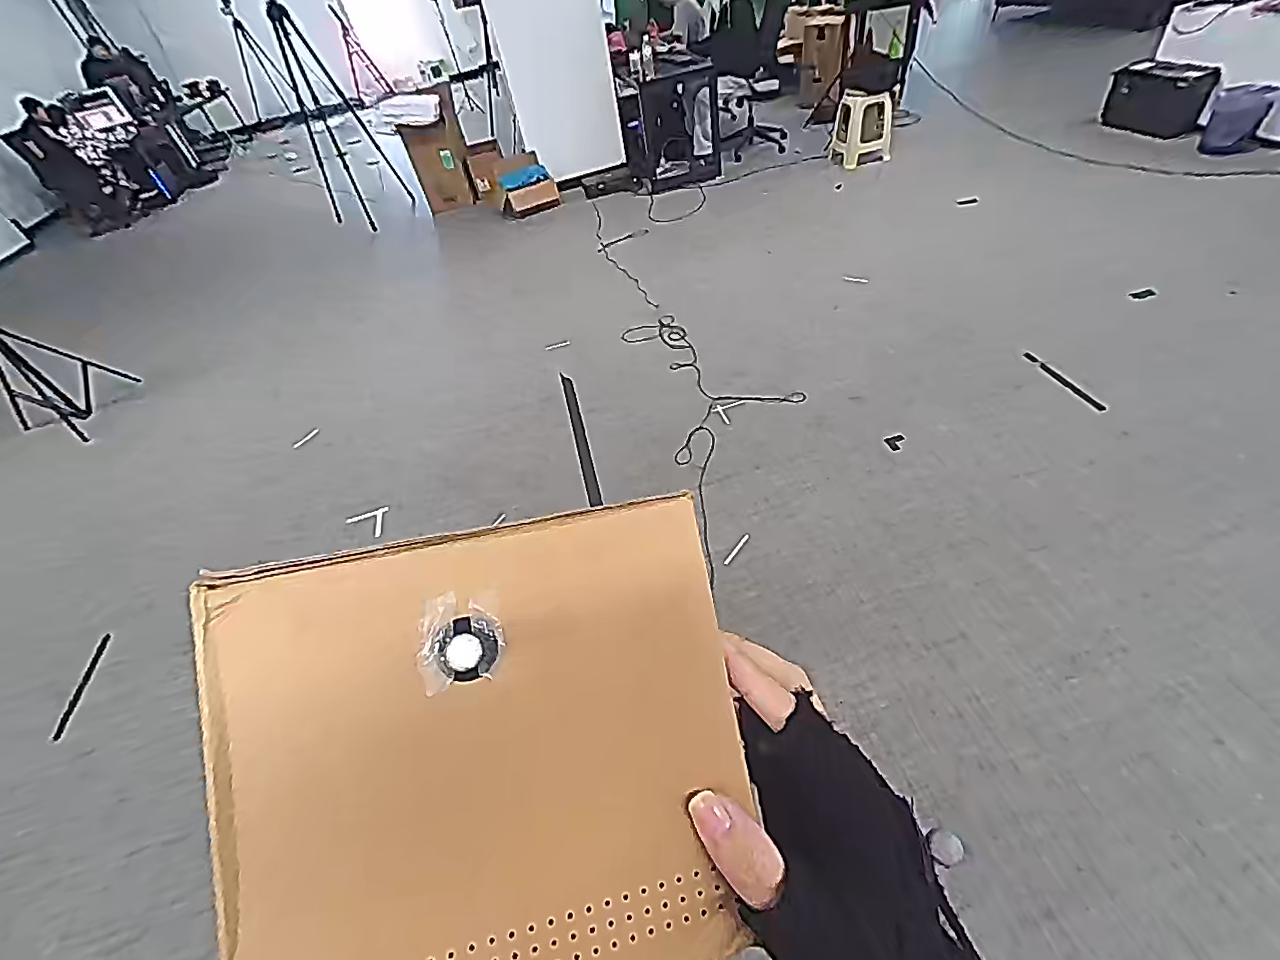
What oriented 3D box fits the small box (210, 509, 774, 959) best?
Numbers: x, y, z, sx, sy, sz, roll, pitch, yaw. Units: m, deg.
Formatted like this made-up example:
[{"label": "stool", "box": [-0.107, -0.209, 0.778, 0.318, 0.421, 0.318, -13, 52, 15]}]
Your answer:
[{"label": "small box", "box": [-0.059, 0.119, 0.262, 0.179, 0.168, 0.176, -9, 83, -11]}]
